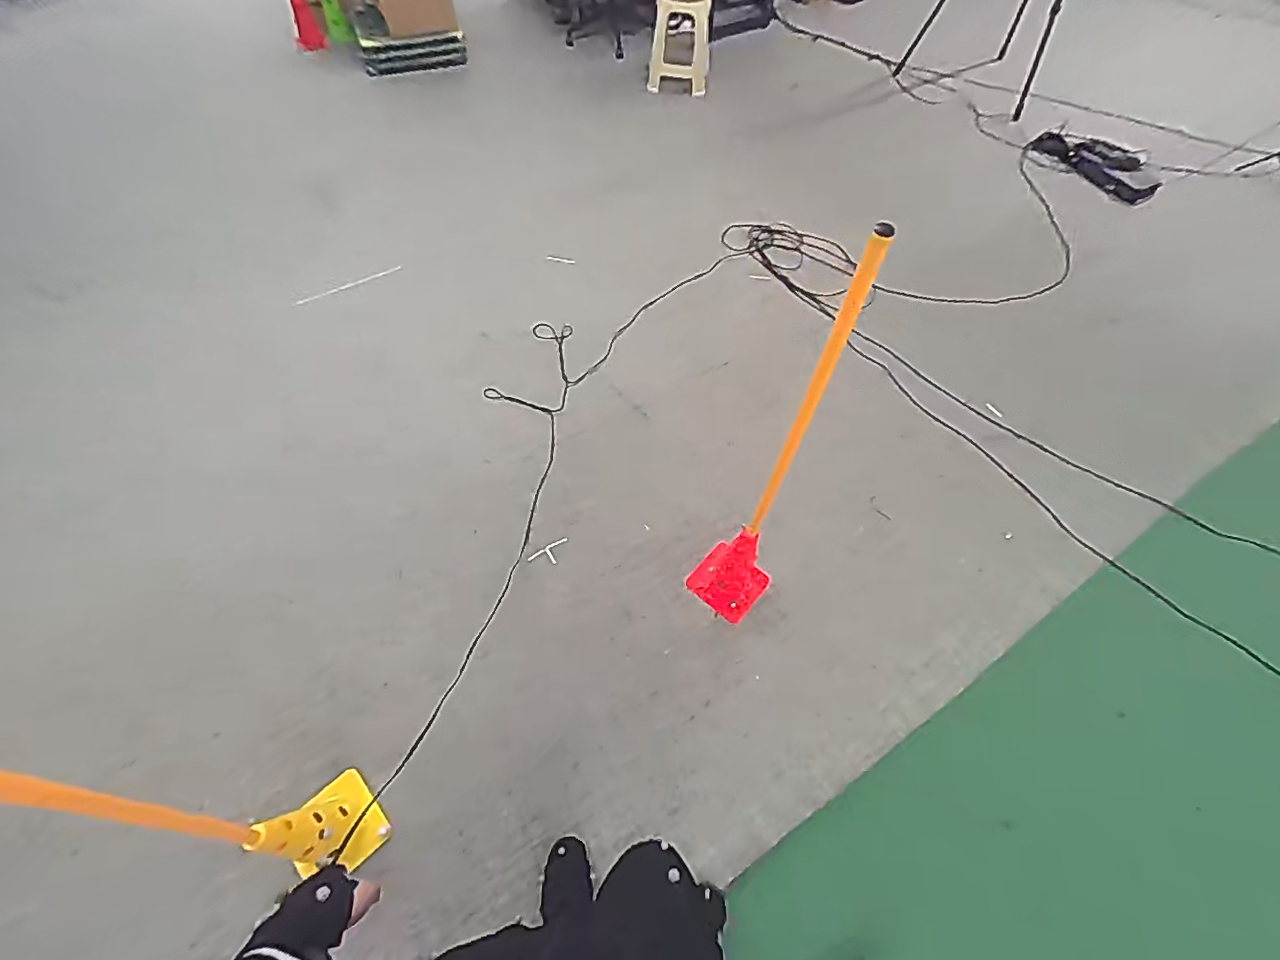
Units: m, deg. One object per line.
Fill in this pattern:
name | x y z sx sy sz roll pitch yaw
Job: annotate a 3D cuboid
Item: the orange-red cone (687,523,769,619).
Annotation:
orange-red cone | 0.276 0.212 1.506 0.198 0.360 0.199 40 64 19
